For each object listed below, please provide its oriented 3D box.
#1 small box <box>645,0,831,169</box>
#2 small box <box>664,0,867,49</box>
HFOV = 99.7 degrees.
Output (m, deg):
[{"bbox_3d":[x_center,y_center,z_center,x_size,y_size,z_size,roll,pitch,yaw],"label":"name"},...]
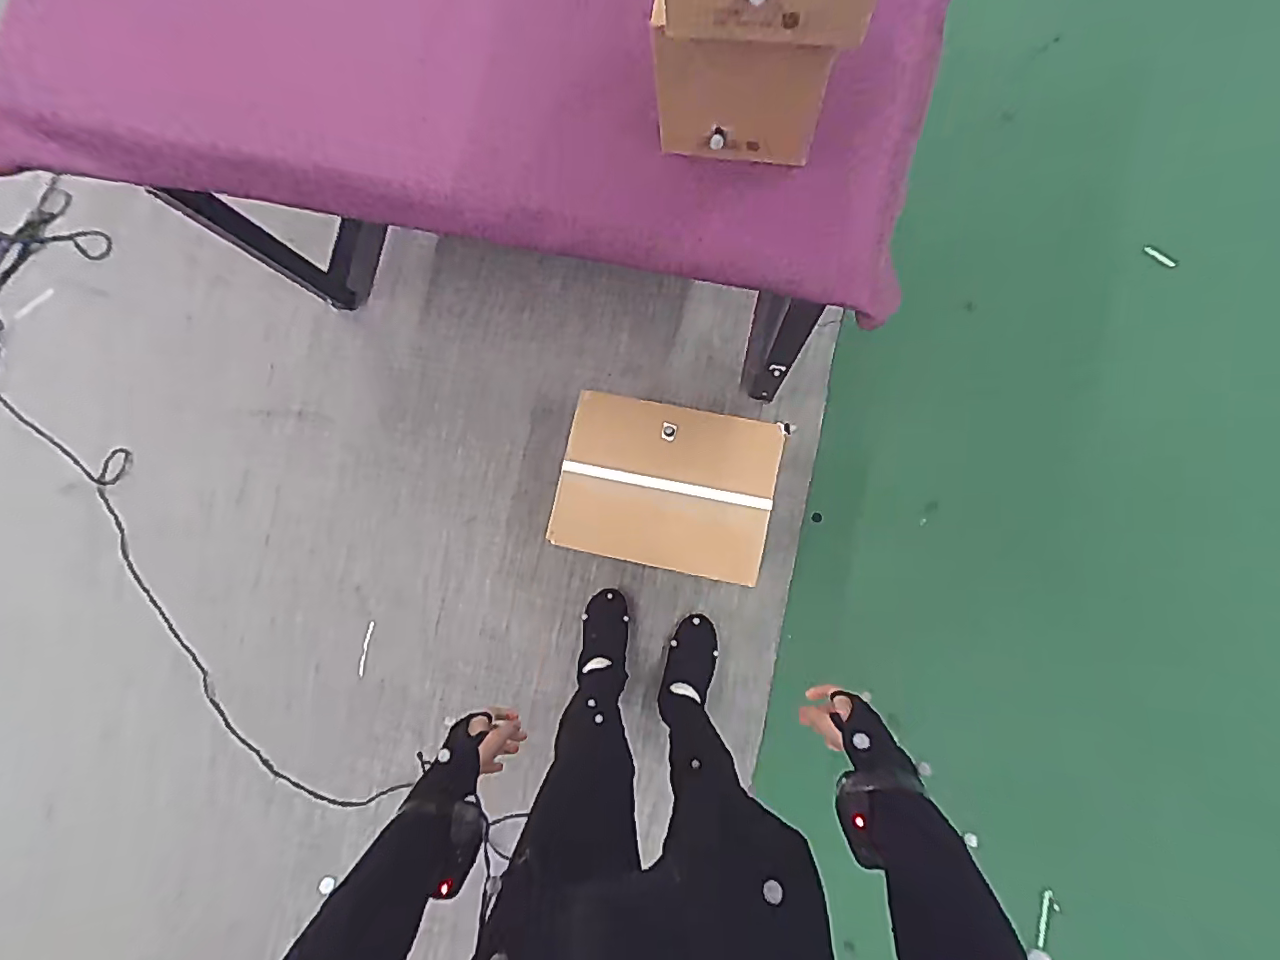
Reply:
[{"bbox_3d":[0.106,-0.458,0.549,0.168,0.176,0.179,9,84,8],"label":"small box"},{"bbox_3d":[0.103,-0.462,0.384,0.168,0.176,0.179,9,84,8],"label":"small box"}]
